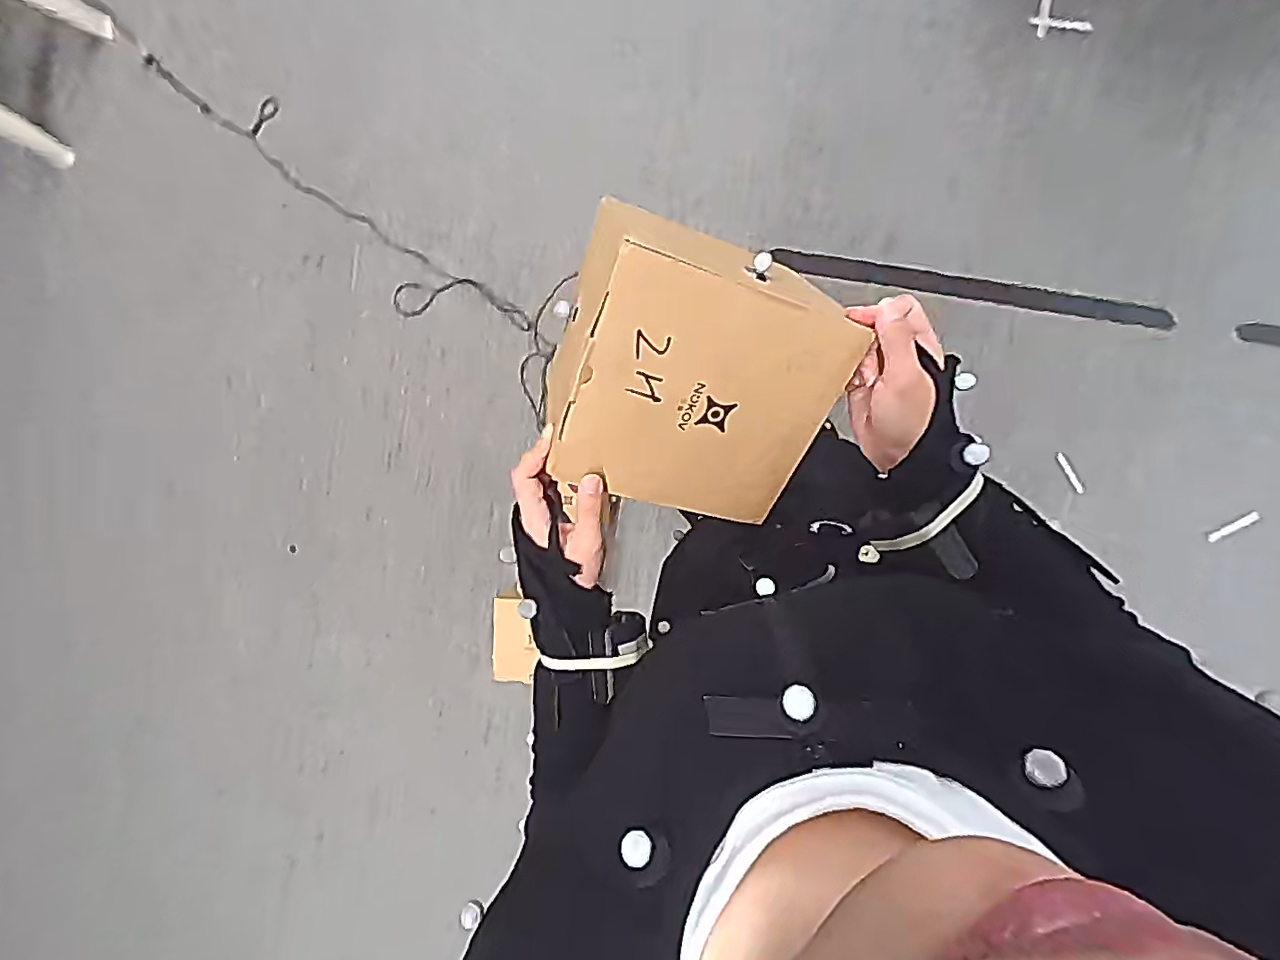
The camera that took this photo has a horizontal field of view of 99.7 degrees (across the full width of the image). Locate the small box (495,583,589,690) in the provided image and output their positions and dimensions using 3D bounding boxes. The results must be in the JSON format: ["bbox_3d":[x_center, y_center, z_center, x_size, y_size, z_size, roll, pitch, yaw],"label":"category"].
[{"bbox_3d":[-0.204,0.325,1.157,0.168,0.176,0.179,1,95,4],"label":"small box"}]

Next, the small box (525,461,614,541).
[{"bbox_3d":[-0.162,0.044,1.293,0.179,0.176,0.168,5,96,3],"label":"small box"}]
